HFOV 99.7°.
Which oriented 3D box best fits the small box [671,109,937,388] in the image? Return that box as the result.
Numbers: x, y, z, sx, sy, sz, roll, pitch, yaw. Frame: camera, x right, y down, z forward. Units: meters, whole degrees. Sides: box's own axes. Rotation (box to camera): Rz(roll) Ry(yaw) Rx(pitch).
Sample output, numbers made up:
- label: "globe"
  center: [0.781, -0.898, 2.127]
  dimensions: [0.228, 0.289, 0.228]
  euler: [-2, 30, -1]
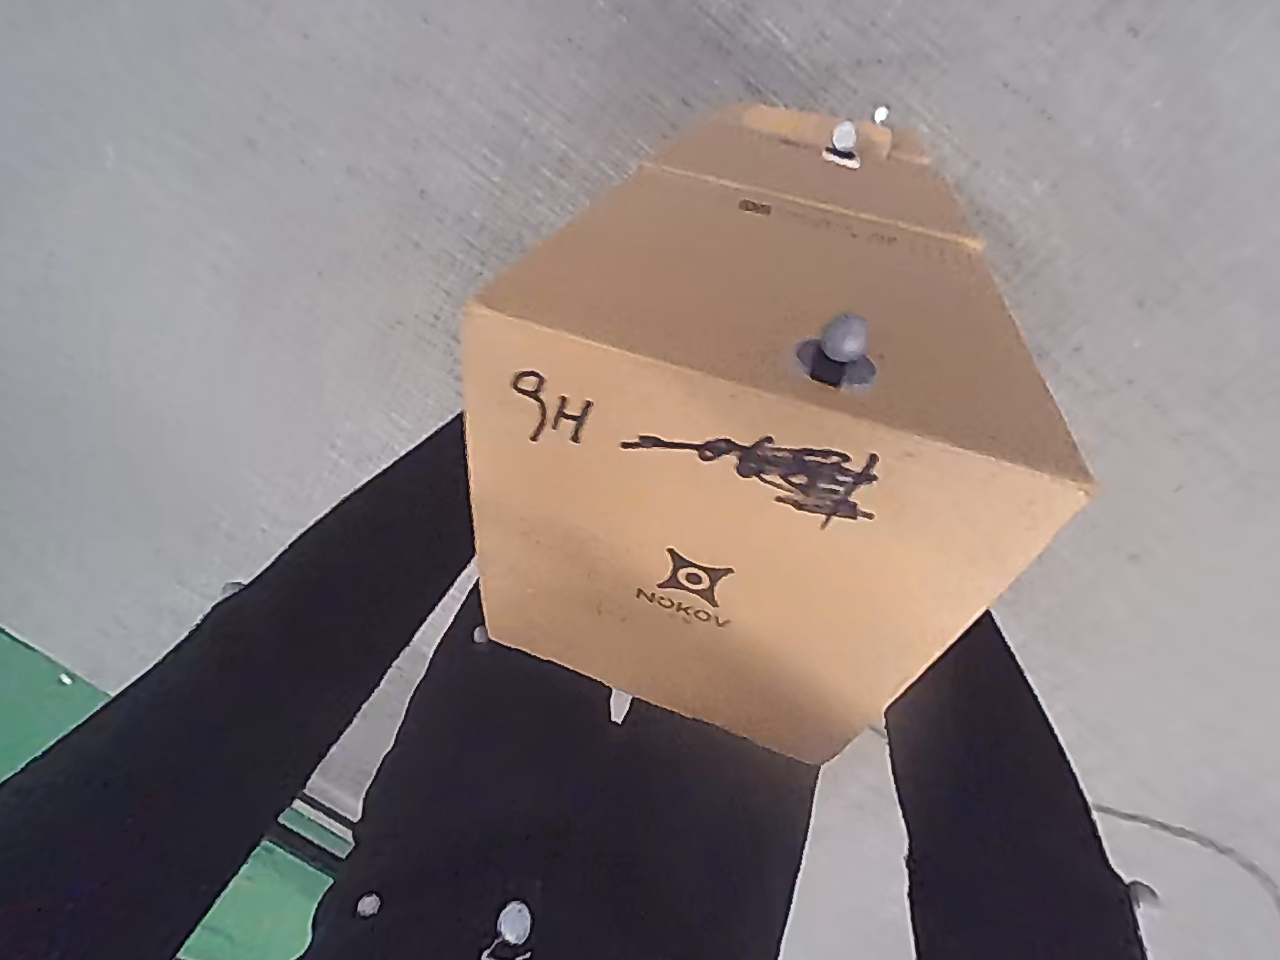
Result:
- label: "small box"
  center: [0.134, -0.212, 0.482]
  dimensions: [0.168, 0.176, 0.179]
  euler: [14, 132, 10]
